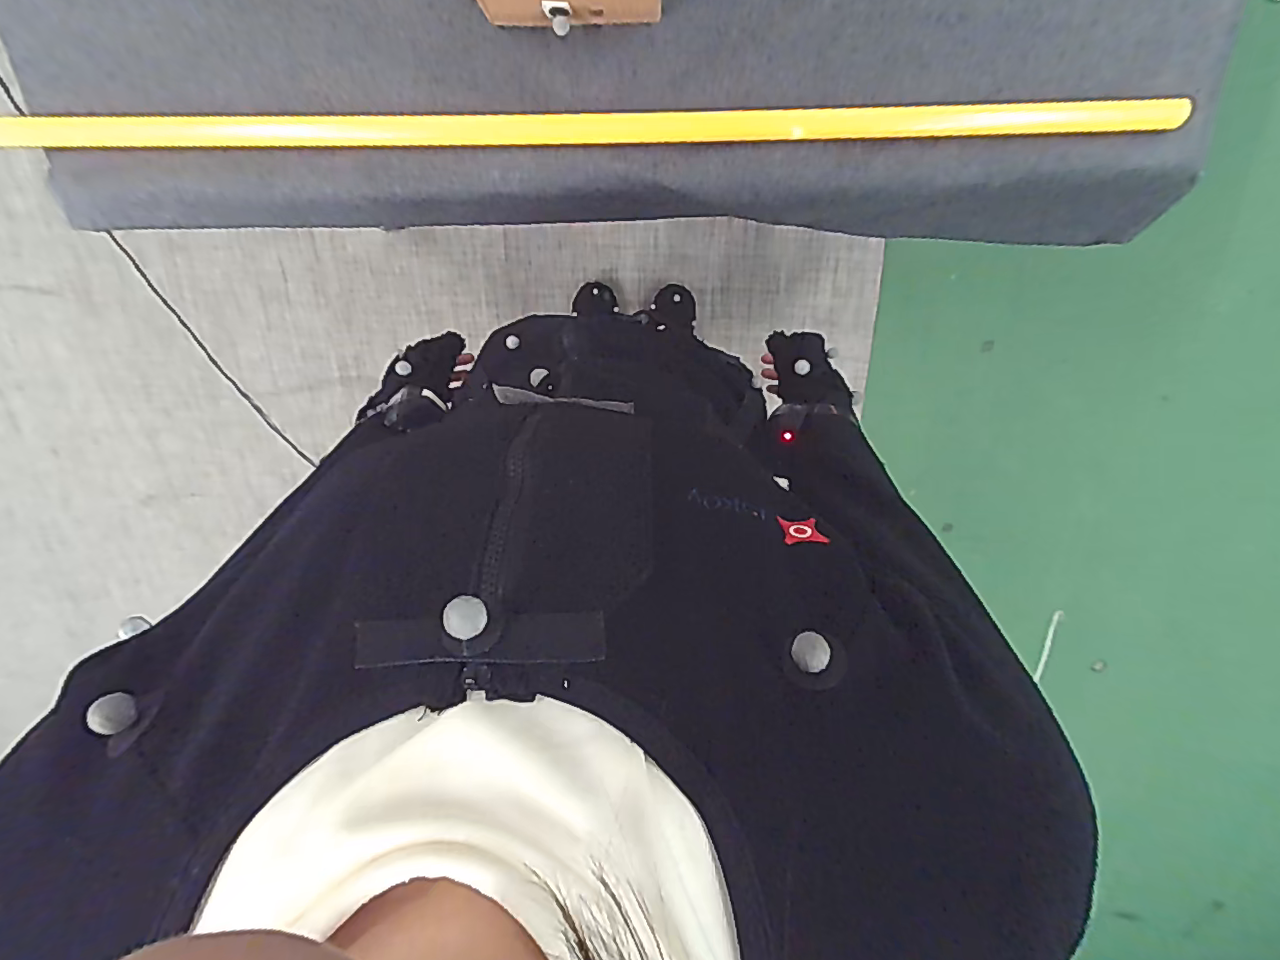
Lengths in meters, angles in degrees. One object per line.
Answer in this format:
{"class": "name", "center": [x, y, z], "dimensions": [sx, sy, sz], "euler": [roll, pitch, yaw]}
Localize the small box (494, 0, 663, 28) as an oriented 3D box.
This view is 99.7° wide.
{"class": "small box", "center": [-0.063, -0.500, 0.426], "dimensions": [0.168, 0.176, 0.179], "euler": [-1, 112, 3]}
